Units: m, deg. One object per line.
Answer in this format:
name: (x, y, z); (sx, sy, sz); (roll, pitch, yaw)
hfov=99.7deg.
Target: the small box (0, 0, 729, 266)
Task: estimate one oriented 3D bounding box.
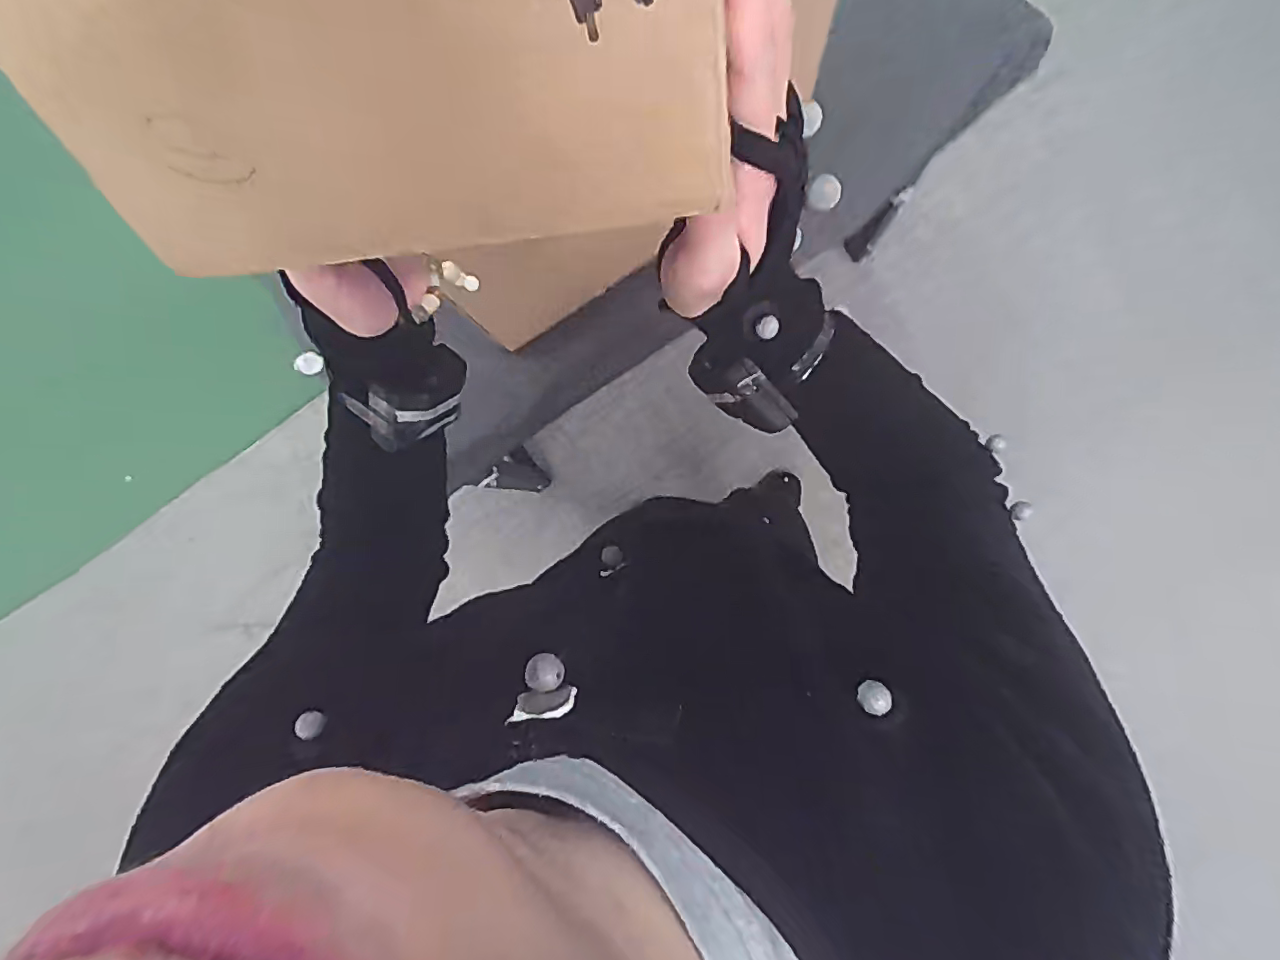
small box: (-0.066, -0.183, 0.148); (0.179, 0.168, 0.176); (-1, 53, 10)
